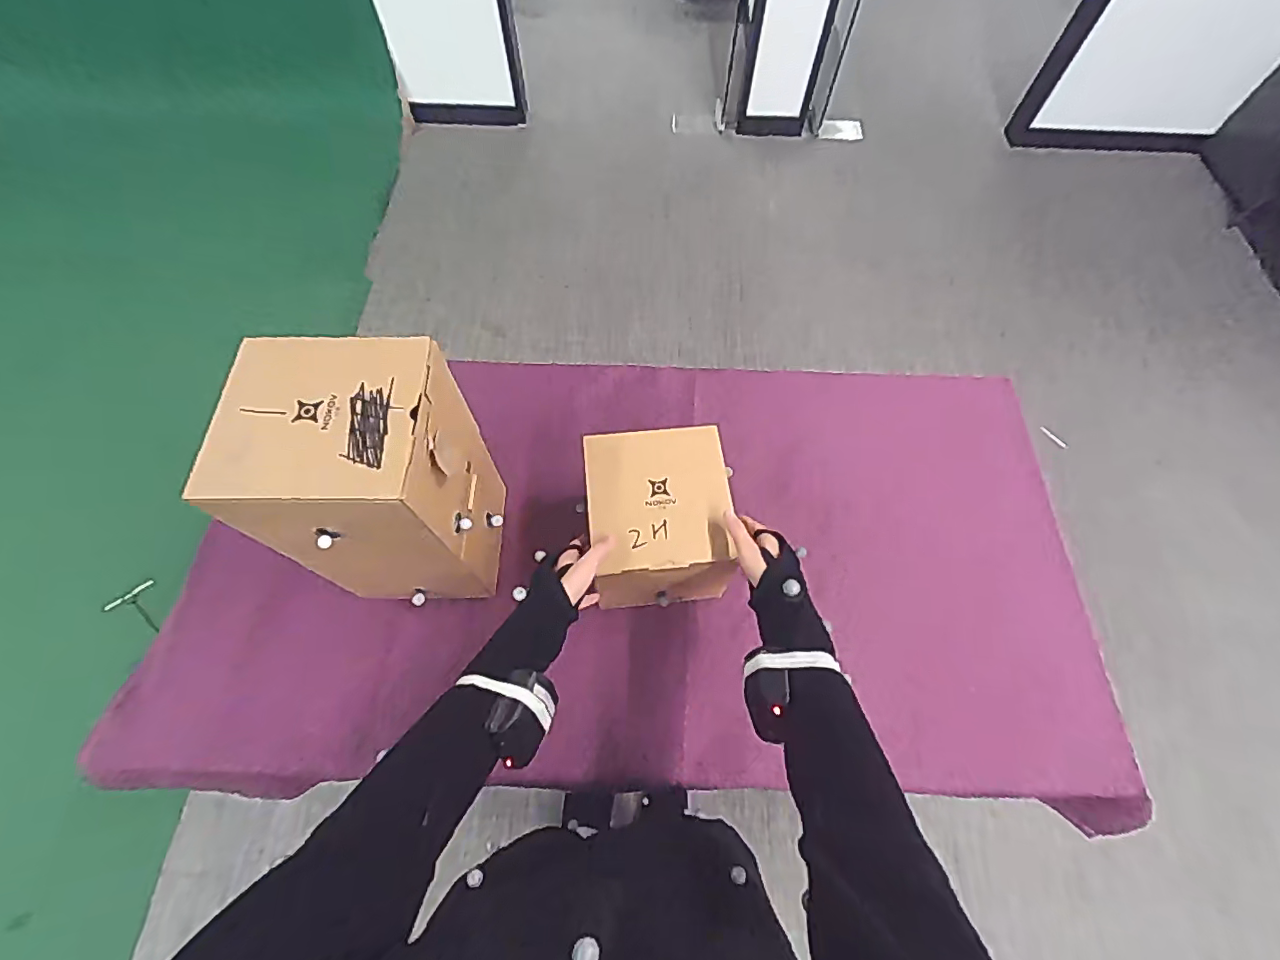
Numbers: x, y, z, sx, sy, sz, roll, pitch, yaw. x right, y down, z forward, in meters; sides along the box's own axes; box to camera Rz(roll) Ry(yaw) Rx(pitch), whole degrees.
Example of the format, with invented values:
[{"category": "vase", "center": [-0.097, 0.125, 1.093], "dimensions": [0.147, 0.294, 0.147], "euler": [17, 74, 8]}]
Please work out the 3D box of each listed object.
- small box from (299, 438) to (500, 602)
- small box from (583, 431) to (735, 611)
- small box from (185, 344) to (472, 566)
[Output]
[{"category": "small box", "center": [-0.284, 0.055, 0.689], "dimensions": [0.179, 0.176, 0.168], "euler": [0, 64, -2]}, {"category": "small box", "center": [0.015, 0.058, 0.693], "dimensions": [0.168, 0.176, 0.179], "euler": [-5, 65, -3]}, {"category": "small box", "center": [-0.280, -0.016, 0.540], "dimensions": [0.179, 0.176, 0.168], "euler": [0, 64, 0]}]
